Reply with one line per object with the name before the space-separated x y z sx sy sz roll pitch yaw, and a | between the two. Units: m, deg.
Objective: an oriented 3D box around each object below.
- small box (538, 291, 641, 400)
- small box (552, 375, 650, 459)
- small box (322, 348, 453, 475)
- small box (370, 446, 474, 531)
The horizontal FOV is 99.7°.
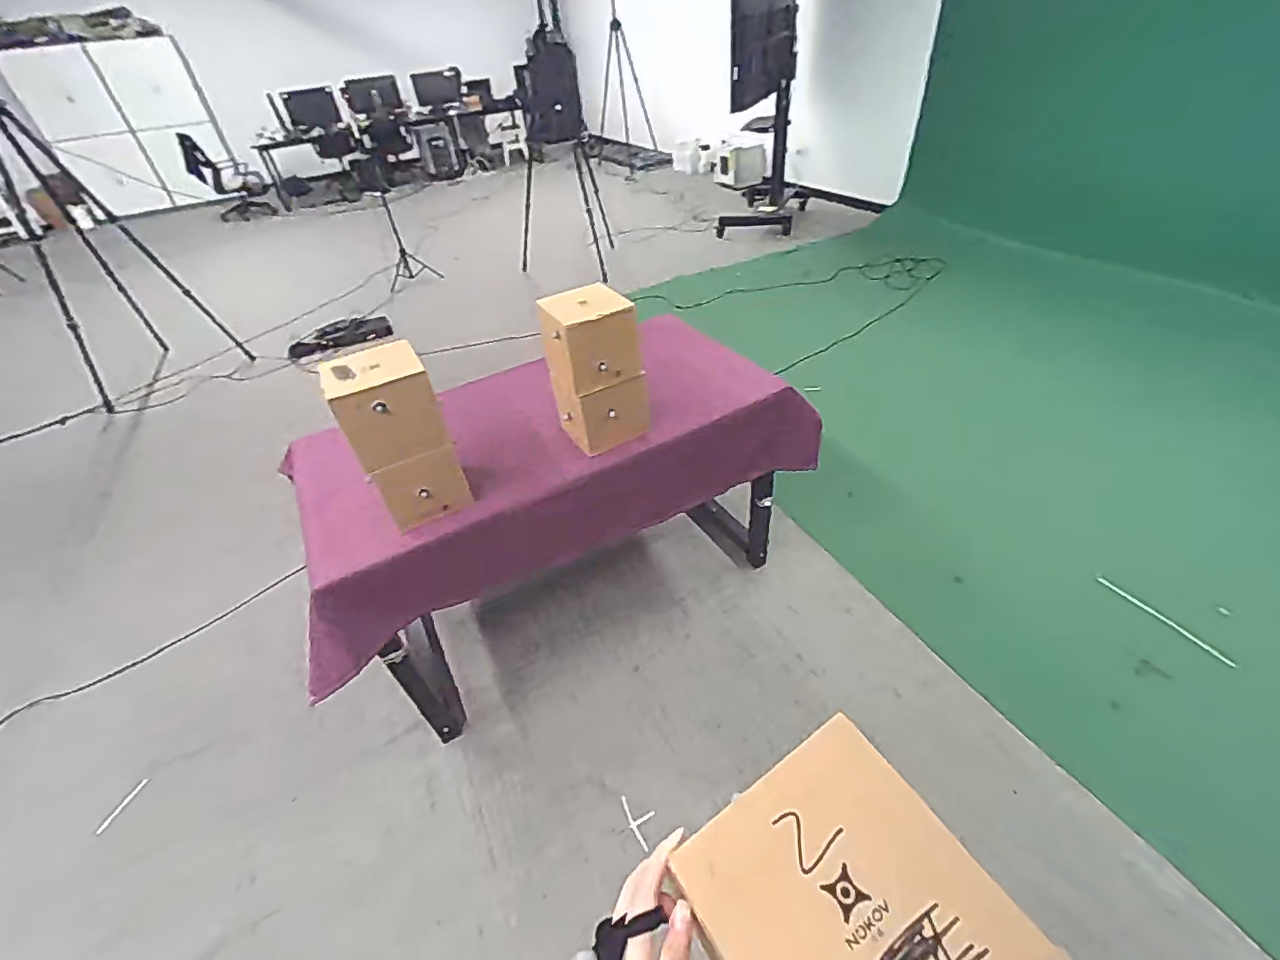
small box | -0.112 -0.304 1.220 0.168 0.176 0.179 -23 43 -19
small box | -0.090 -0.176 1.321 0.179 0.176 0.168 -25 43 -20
small box | -0.496 -0.136 1.072 0.179 0.176 0.168 -24 43 -20
small box | -0.480 -0.010 1.178 0.168 0.176 0.179 -23 42 -20
